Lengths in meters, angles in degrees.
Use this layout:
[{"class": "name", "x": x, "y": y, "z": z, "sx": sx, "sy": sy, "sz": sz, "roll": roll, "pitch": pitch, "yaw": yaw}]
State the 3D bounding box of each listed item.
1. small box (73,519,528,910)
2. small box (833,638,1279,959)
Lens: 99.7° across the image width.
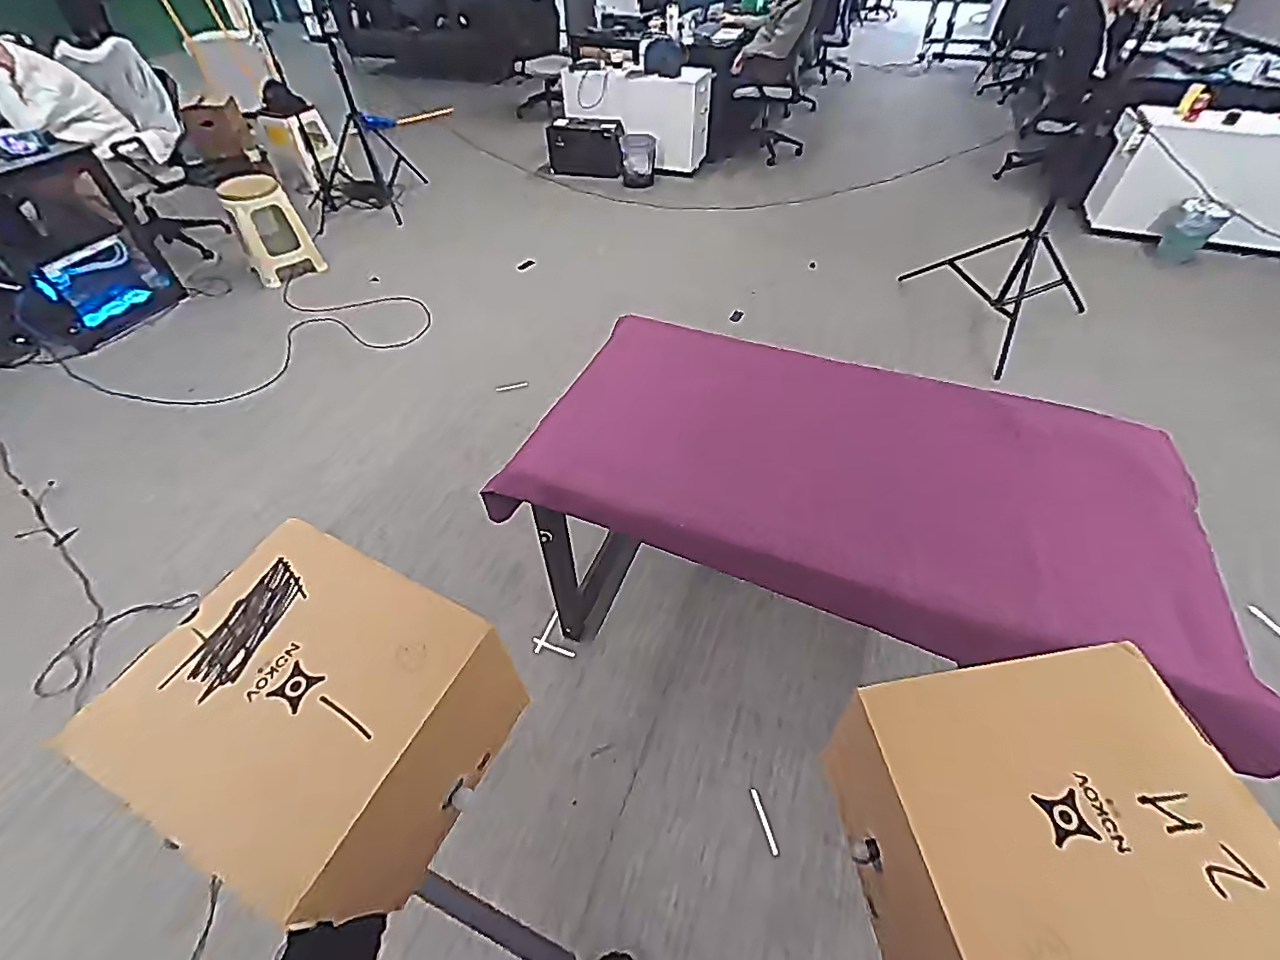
[{"class": "small box", "x": -0.201, "y": 0.163, "z": 0.381, "sx": 0.179, "sy": 0.176, "sz": 0.168, "roll": 23, "pitch": 56, "yaw": 14}, {"class": "small box", "x": 0.238, "y": 0.224, "z": 0.346, "sx": 0.179, "sy": 0.176, "sz": 0.168, "roll": -10, "pitch": 50, "yaw": -1}]
